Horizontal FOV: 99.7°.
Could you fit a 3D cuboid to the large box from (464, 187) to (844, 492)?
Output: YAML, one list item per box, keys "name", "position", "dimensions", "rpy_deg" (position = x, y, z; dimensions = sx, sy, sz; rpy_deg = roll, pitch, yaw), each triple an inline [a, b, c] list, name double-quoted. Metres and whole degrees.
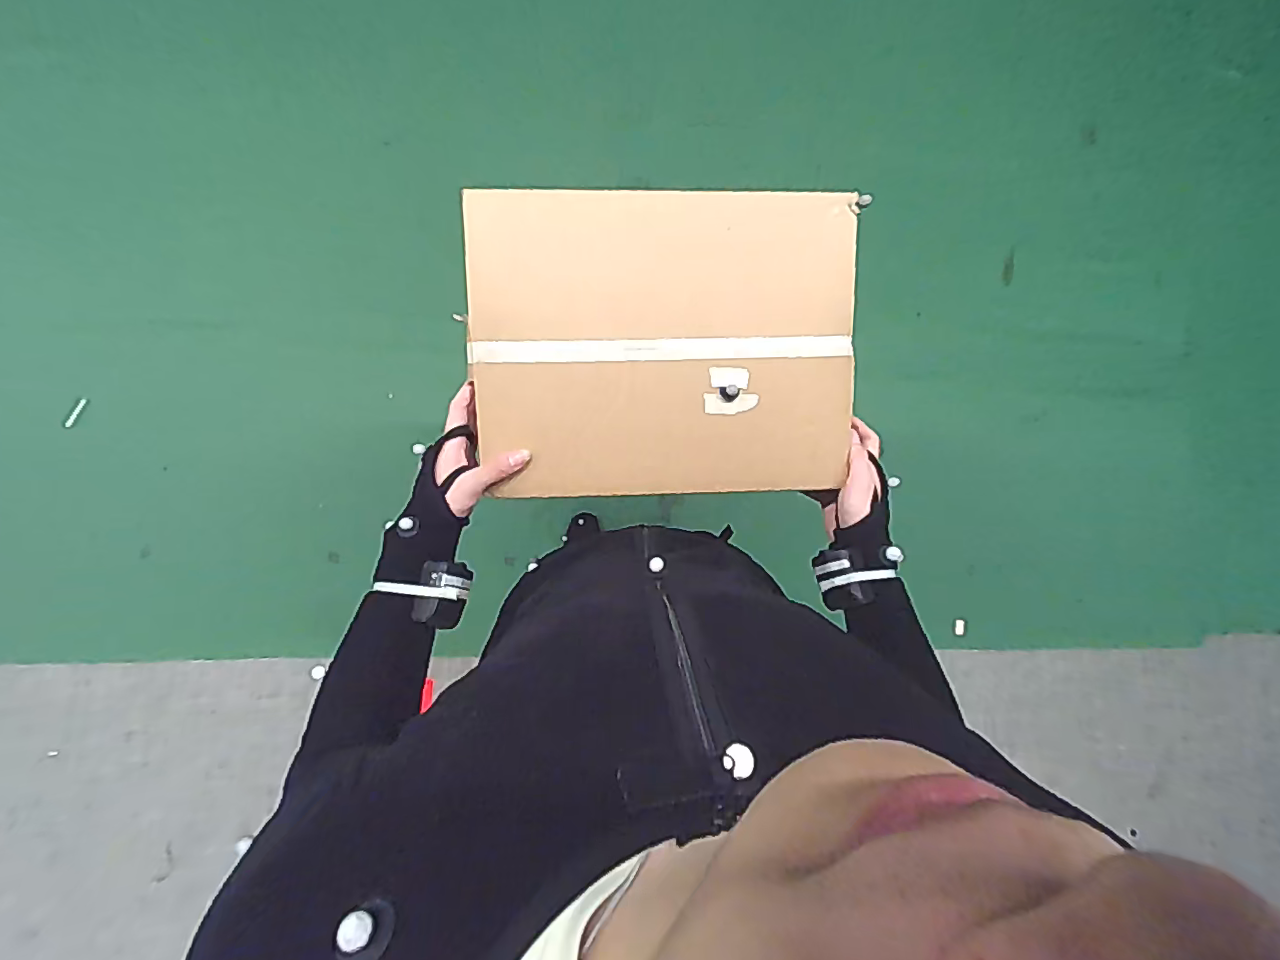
- name: "large box"
  position: [0.011, -0.169, 0.725]
  dimensions: [0.408, 0.320, 0.320]
  rpy_deg: [-2, 99, -5]

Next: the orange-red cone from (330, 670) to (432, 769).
- name: "orange-red cone"
  position: [-0.687, 0.635, 1.365]
  dimensions: [0.199, 0.360, 0.198]
  rpy_deg: [9, 85, -5]
